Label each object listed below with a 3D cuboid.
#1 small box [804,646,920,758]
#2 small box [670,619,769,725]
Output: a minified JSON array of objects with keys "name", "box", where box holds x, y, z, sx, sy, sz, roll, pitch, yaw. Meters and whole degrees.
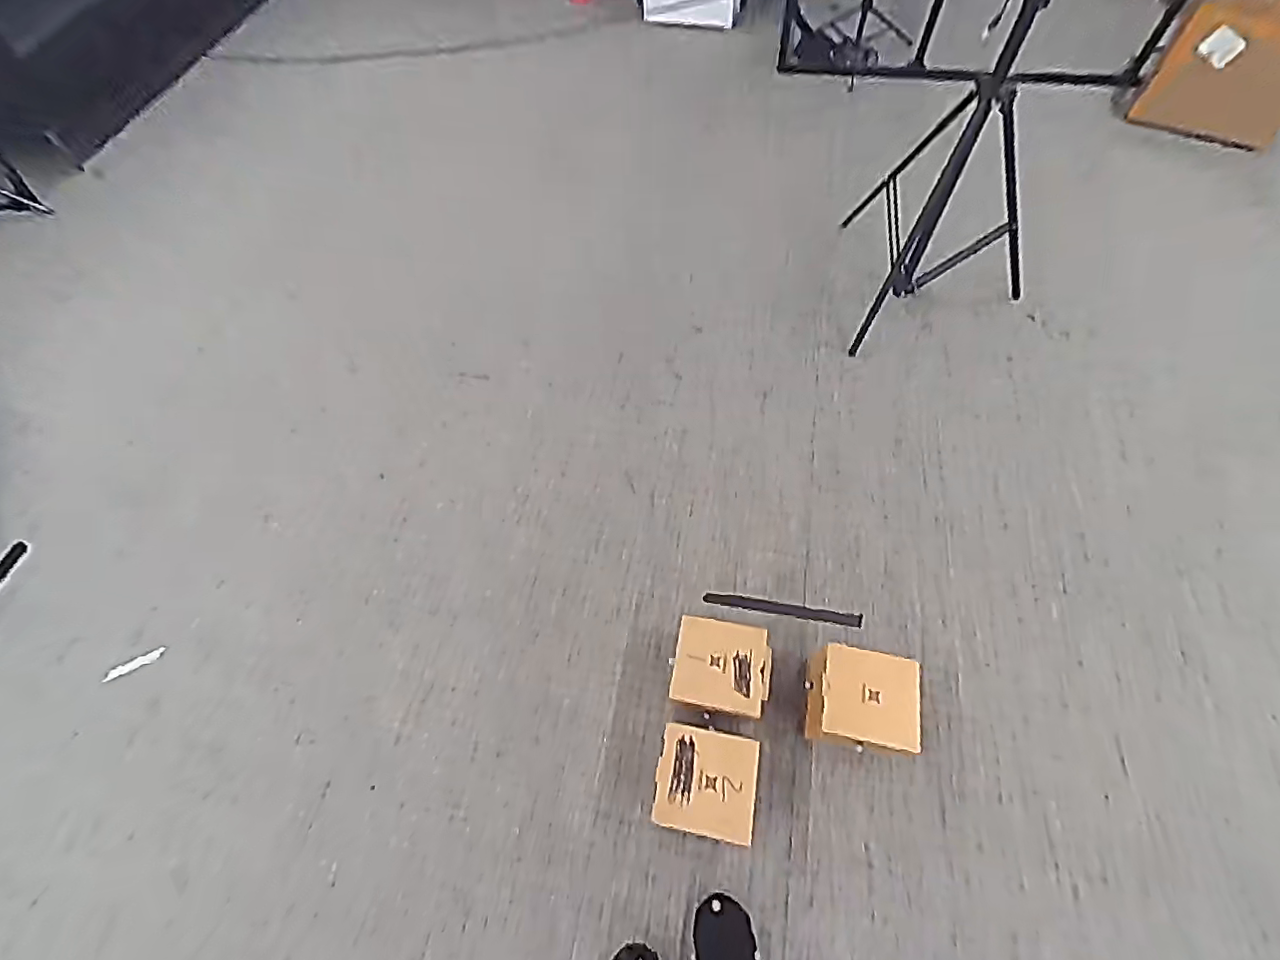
[{"name":"small box","box":[0.442,0.451,1.090,0.179,0.176,0.168,10,62,10]},{"name":"small box","box":[0.164,0.406,1.133,0.179,0.176,0.168,8,62,9]}]
